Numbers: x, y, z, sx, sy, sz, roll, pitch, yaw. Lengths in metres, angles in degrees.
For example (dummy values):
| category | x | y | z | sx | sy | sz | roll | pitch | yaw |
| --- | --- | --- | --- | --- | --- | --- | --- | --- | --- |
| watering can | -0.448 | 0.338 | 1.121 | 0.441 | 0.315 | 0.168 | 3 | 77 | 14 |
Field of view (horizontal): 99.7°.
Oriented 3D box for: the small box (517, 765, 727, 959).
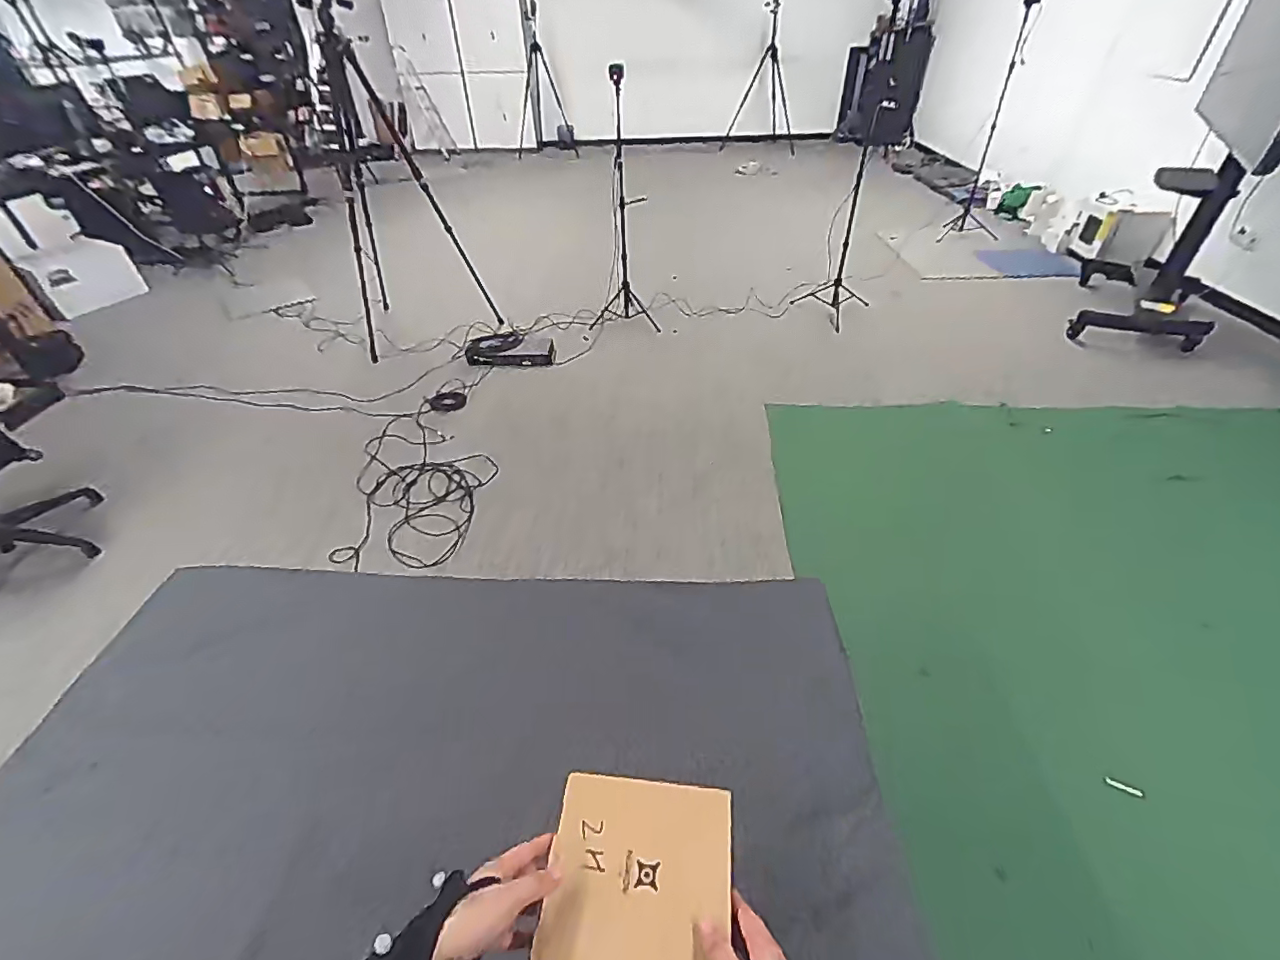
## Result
| category | x | y | z | sx | sy | sz | roll | pitch | yaw |
| --- | --- | --- | --- | --- | --- | --- | --- | --- | --- |
| small box | -0.006 | 0.422 | 0.555 | 0.179 | 0.176 | 0.168 | 3 | 39 | 7 |
